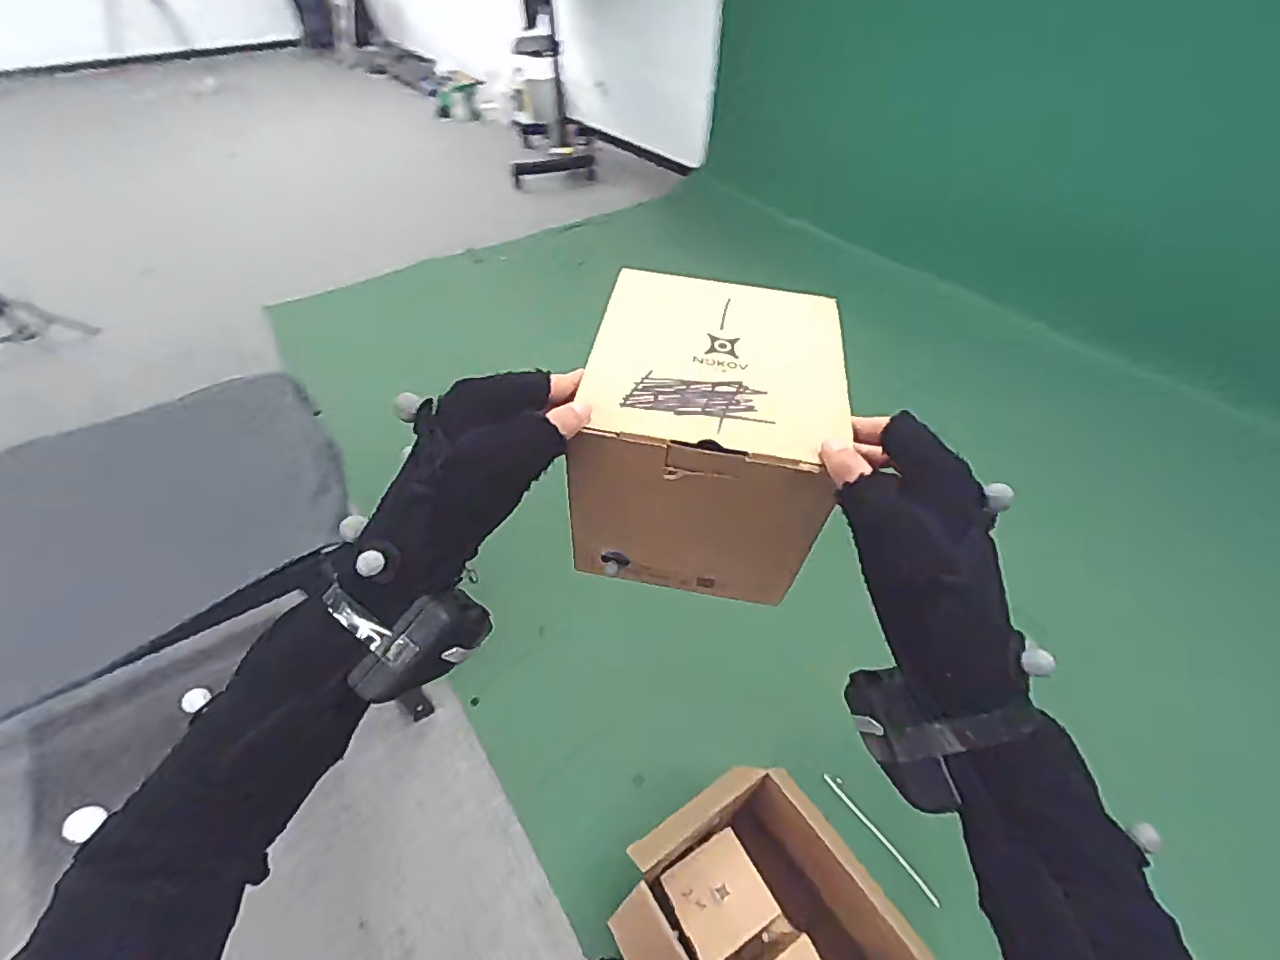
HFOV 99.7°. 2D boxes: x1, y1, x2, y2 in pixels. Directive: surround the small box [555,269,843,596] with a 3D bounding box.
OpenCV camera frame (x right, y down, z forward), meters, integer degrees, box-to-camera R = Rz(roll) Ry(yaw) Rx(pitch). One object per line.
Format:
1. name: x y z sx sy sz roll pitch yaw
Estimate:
1. small box: 0.042 -0.032 0.414 0.168 0.176 0.179 9 51 3
